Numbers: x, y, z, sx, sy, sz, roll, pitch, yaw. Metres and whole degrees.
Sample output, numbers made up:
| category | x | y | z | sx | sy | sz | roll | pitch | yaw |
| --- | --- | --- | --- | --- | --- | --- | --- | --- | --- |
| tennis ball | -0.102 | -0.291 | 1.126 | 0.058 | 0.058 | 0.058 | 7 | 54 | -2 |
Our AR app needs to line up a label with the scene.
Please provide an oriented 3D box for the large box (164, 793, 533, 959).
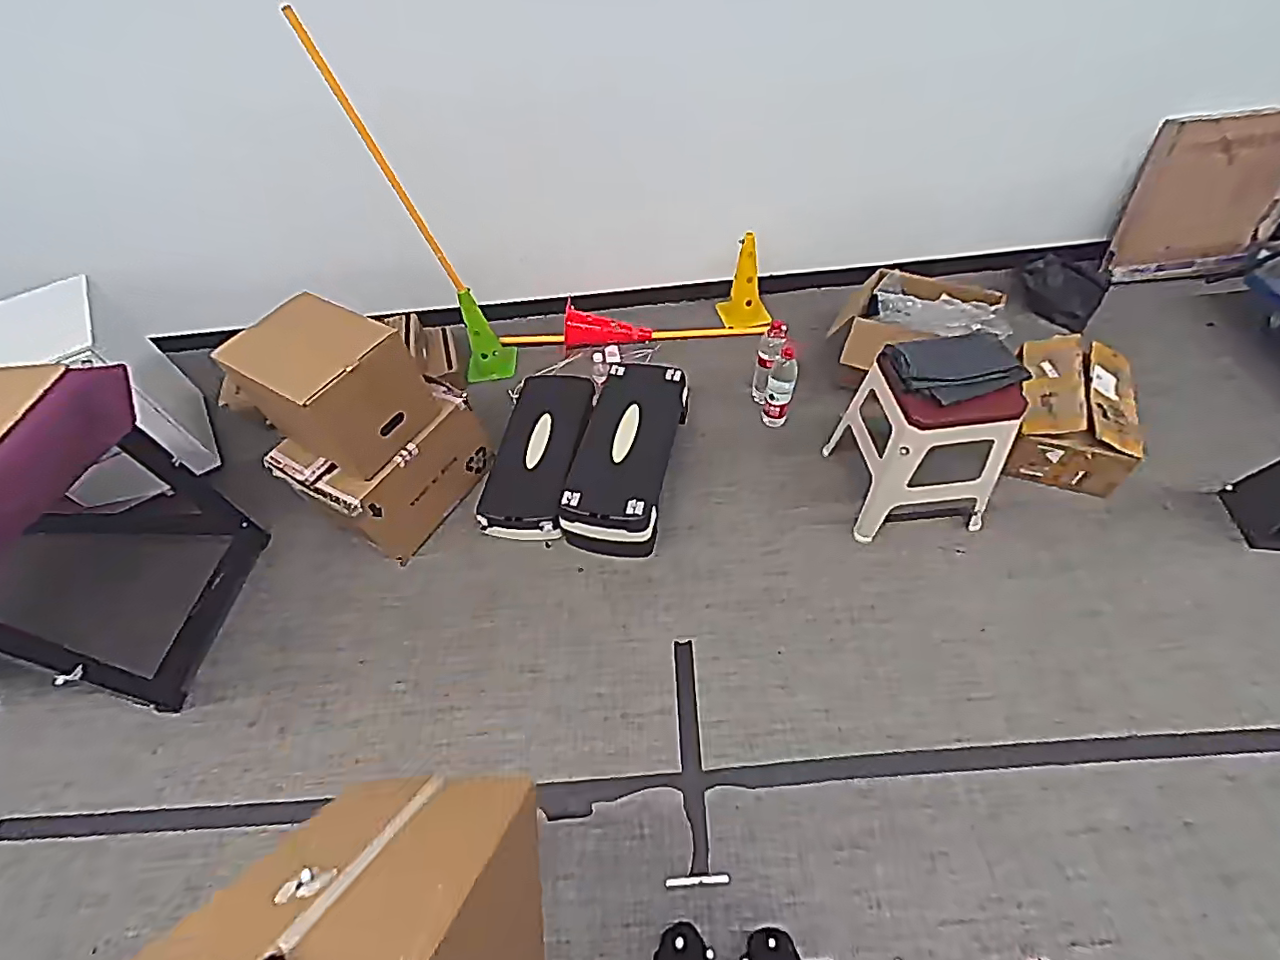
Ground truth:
| category | x | y | z | sx | sy | sz | roll | pitch | yaw |
| --- | --- | --- | --- | --- | --- | --- | --- | --- | --- |
| large box | -0.336 | 0.658 | 0.688 | 0.320 | 0.408 | 0.320 | -5 | 86 | 5 |
